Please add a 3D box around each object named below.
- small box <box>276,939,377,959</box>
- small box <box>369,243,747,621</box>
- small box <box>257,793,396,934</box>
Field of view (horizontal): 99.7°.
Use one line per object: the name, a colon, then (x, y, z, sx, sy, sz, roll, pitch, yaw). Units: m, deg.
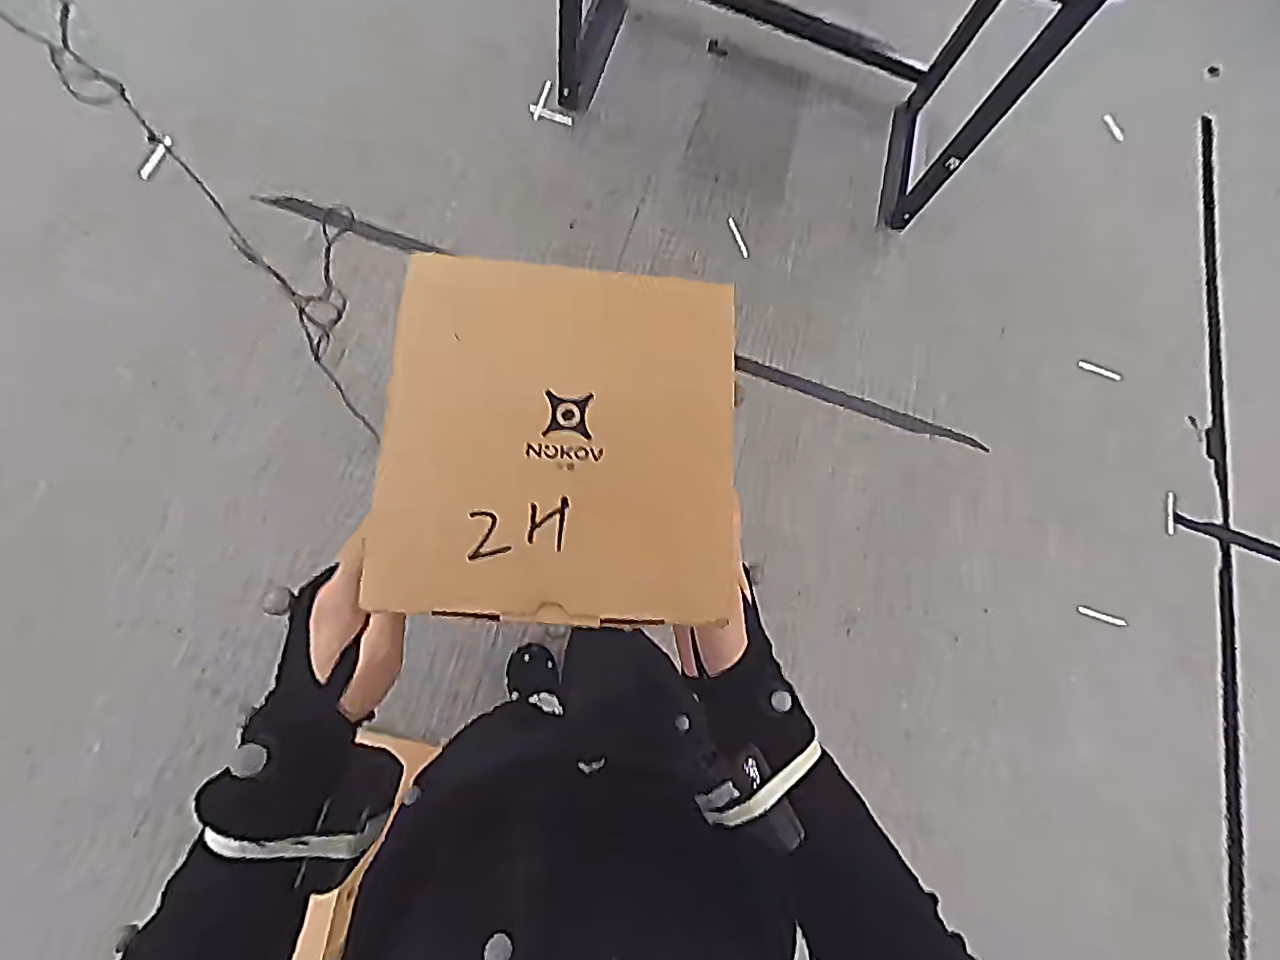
small box: (-0.619, 0.993, 1.000, 0.179, 0.176, 0.168, 11, 75, -7)
small box: (-0.039, -0.010, 0.333, 0.168, 0.176, 0.179, 4, 78, -5)
small box: (-0.601, 0.742, 1.065, 0.168, 0.176, 0.179, 11, 74, -6)
